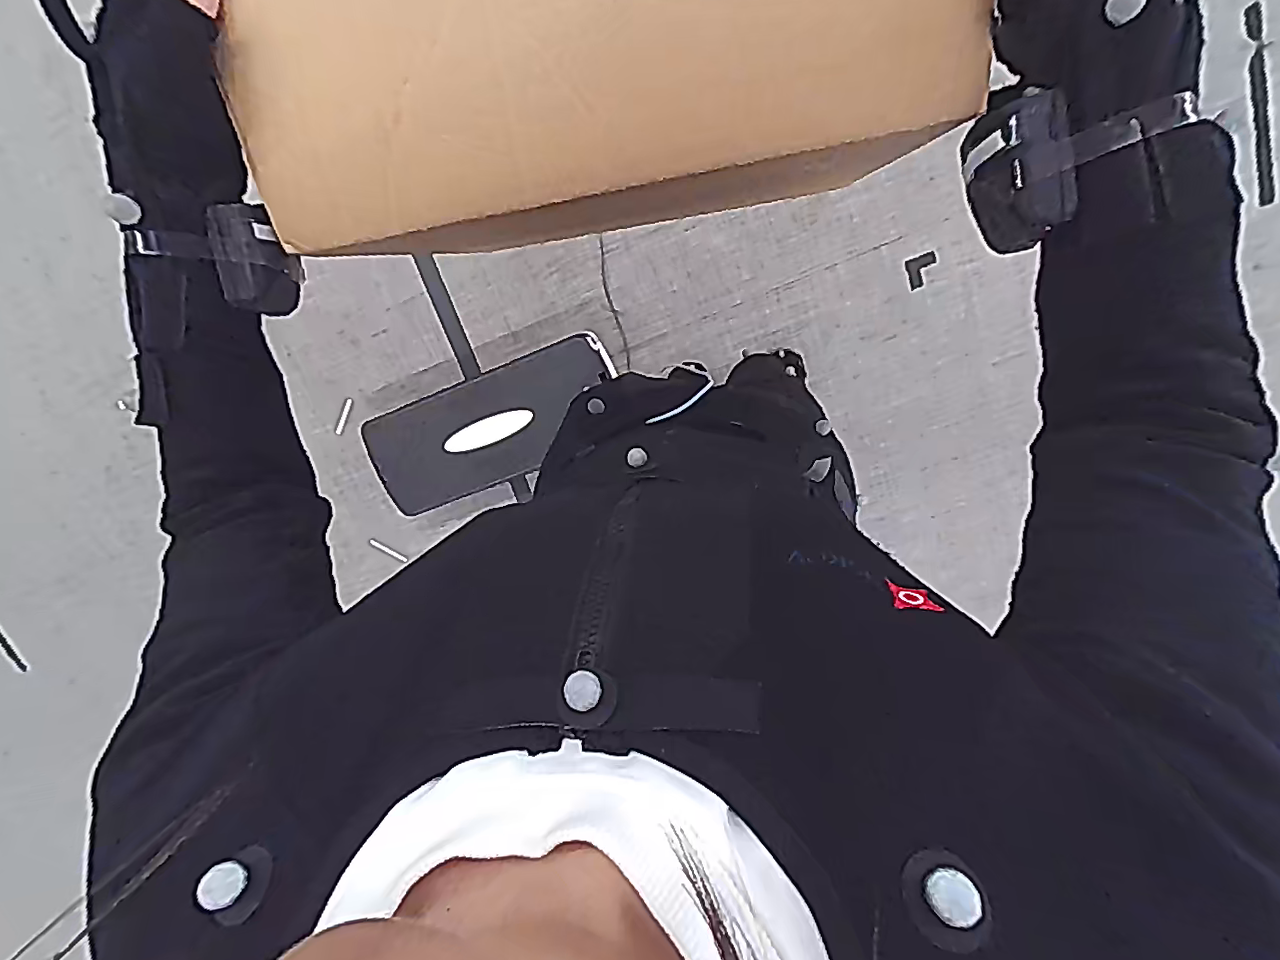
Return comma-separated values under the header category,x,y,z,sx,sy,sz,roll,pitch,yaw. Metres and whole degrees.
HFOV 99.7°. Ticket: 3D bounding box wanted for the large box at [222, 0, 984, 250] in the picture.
category,x,y,z,sx,sy,sz,roll,pitch,yaw
large box,-0.028,-0.373,0.398,0.408,0.320,0.320,-7,112,10
